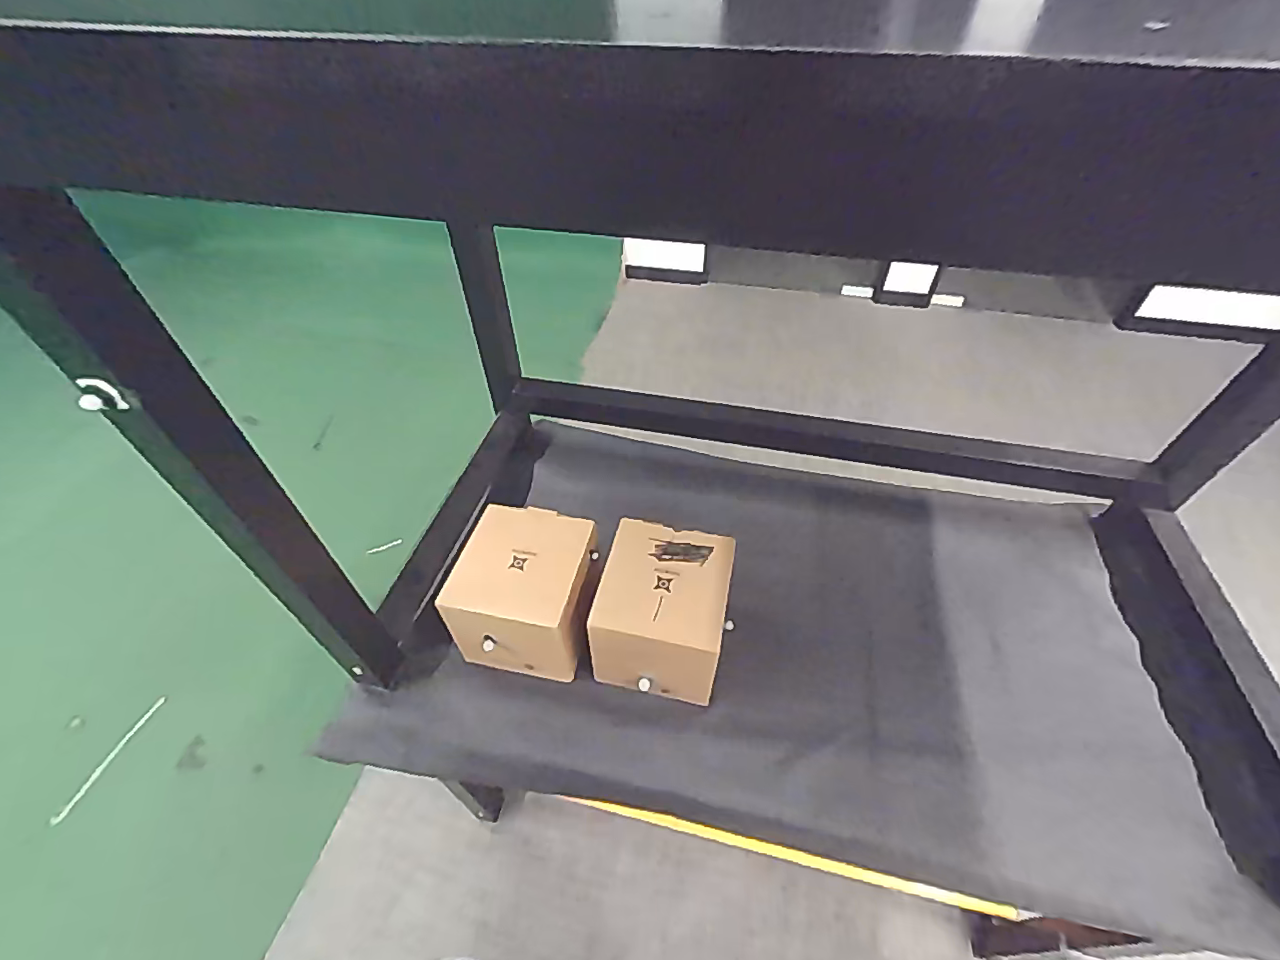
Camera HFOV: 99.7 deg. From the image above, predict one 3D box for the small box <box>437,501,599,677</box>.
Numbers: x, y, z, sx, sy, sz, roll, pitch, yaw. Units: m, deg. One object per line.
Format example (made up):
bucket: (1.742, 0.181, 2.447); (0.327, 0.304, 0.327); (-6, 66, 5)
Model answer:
small box: (-0.159, 0.160, 0.783); (0.168, 0.176, 0.179); (9, 47, 8)

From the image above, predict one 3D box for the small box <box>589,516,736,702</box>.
small box: (0.035, 0.181, 0.759); (0.168, 0.176, 0.179); (9, 48, 10)
